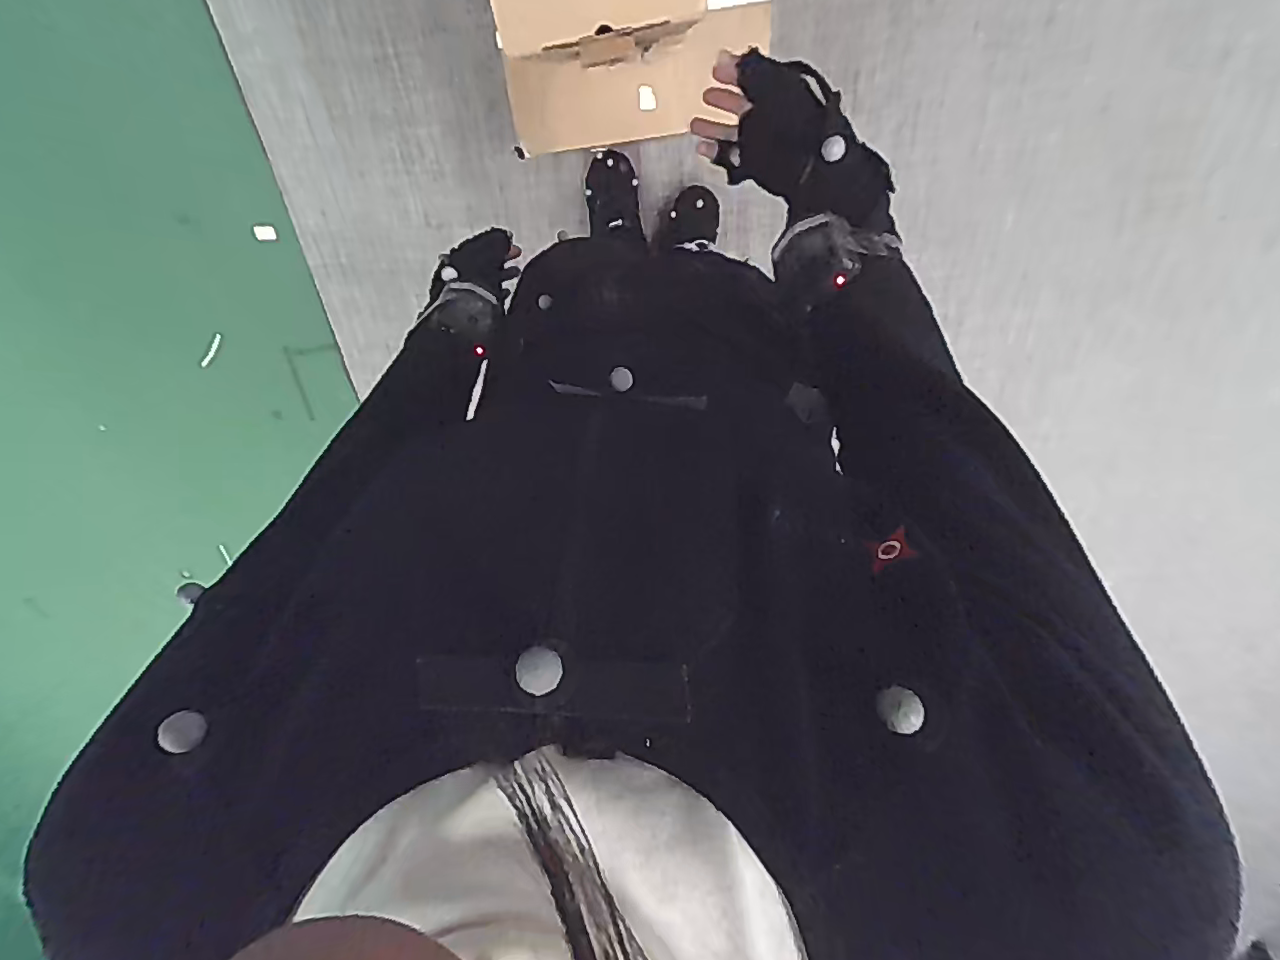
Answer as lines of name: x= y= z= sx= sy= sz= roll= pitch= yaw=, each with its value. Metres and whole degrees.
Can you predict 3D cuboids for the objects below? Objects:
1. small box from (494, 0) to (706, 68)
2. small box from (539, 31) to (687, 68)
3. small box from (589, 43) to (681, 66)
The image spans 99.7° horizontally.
small box: x=-0.040 y=-0.466 z=0.444 sx=0.168 sy=0.176 sz=0.179 roll=-8 pitch=128 yaw=6
small box: x=-0.040 y=-0.561 z=0.577 sx=0.168 sy=0.176 sz=0.179 roll=-7 pitch=125 yaw=5
small box: x=-0.035 y=-0.652 z=0.707 sx=0.179 sy=0.176 sz=0.168 roll=1 pitch=125 yaw=2
